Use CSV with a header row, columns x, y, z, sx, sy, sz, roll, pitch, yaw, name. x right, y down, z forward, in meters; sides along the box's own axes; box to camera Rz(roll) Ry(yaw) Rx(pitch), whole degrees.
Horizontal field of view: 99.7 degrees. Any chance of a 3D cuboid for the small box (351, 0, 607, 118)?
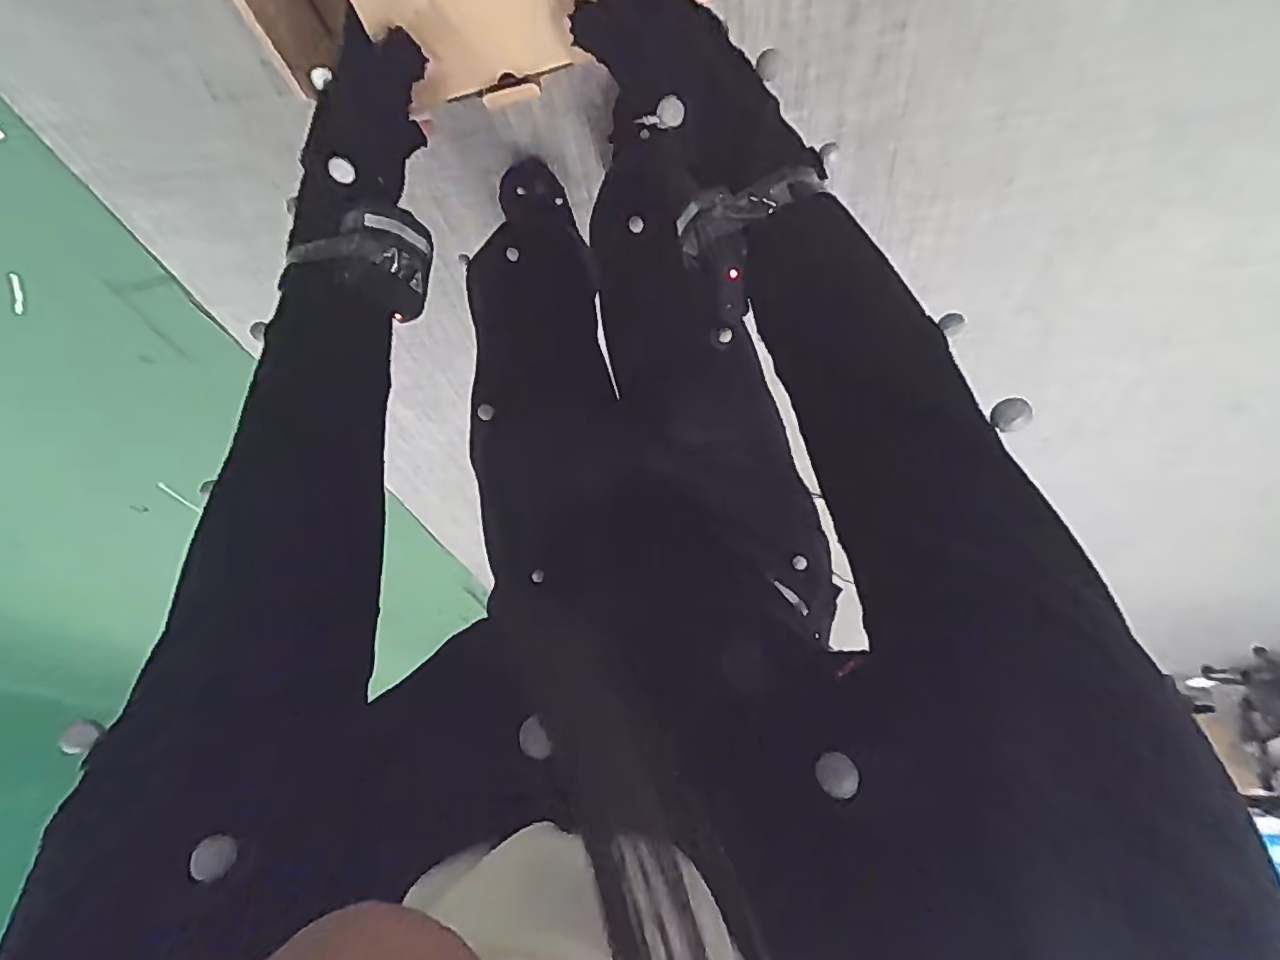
x,y,z,sx,sy,sz,roll,pitch,yaw,name
-0.124,-0.410,0.392,0.168,0.176,0.179,-11,144,8,small box
